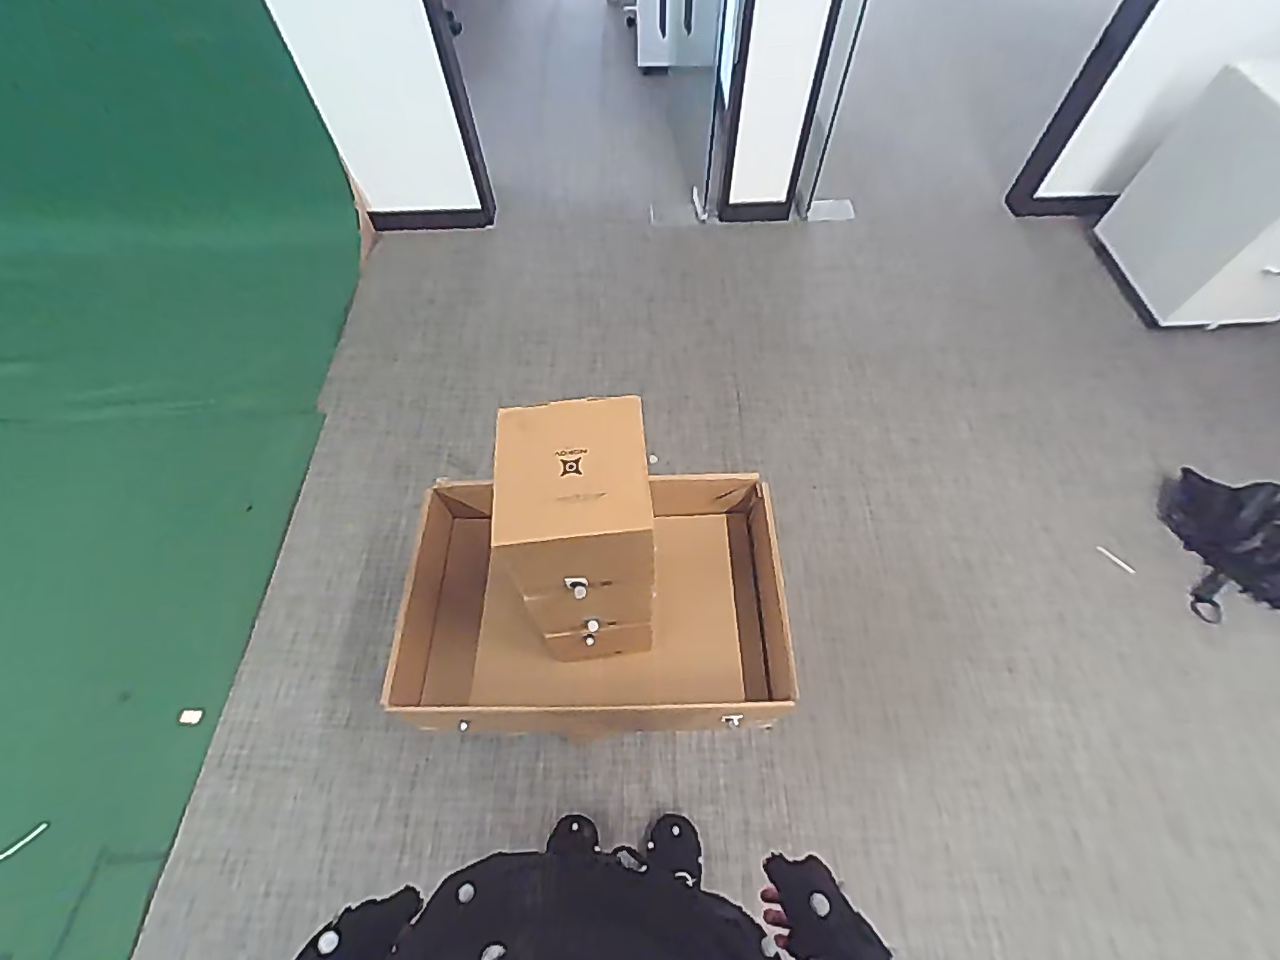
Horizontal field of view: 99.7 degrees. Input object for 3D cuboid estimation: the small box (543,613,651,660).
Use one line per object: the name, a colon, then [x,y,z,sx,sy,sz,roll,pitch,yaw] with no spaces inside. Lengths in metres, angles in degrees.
small box: [-0.073,0.194,0.931,0.168,0.176,0.179,-7,58,-2]

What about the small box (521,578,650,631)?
small box: [-0.076,0.107,0.792,0.168,0.176,0.179,-6,60,-2]

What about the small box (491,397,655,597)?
small box: [-0.073,0.025,0.653,0.168,0.176,0.179,-7,60,-1]
